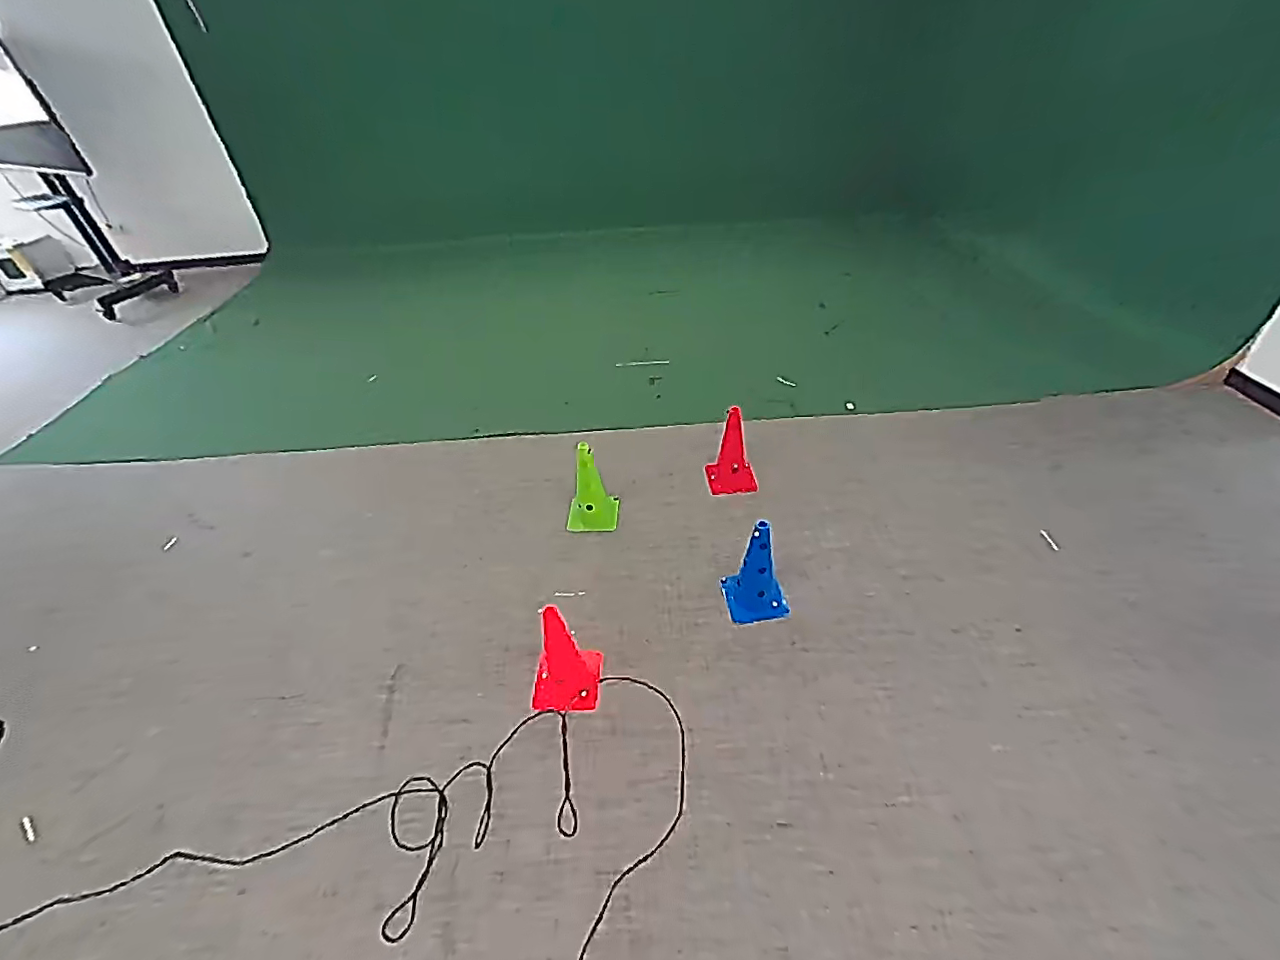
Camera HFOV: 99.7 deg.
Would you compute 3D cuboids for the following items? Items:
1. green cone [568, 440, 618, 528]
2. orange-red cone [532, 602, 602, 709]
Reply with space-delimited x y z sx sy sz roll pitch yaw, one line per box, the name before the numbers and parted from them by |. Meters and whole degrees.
green cone | -0.203 -0.005 2.109 0.200 0.368 0.202 -2 41 3
orange-red cone | -0.228 0.474 1.557 0.198 0.360 0.199 0 39 4
